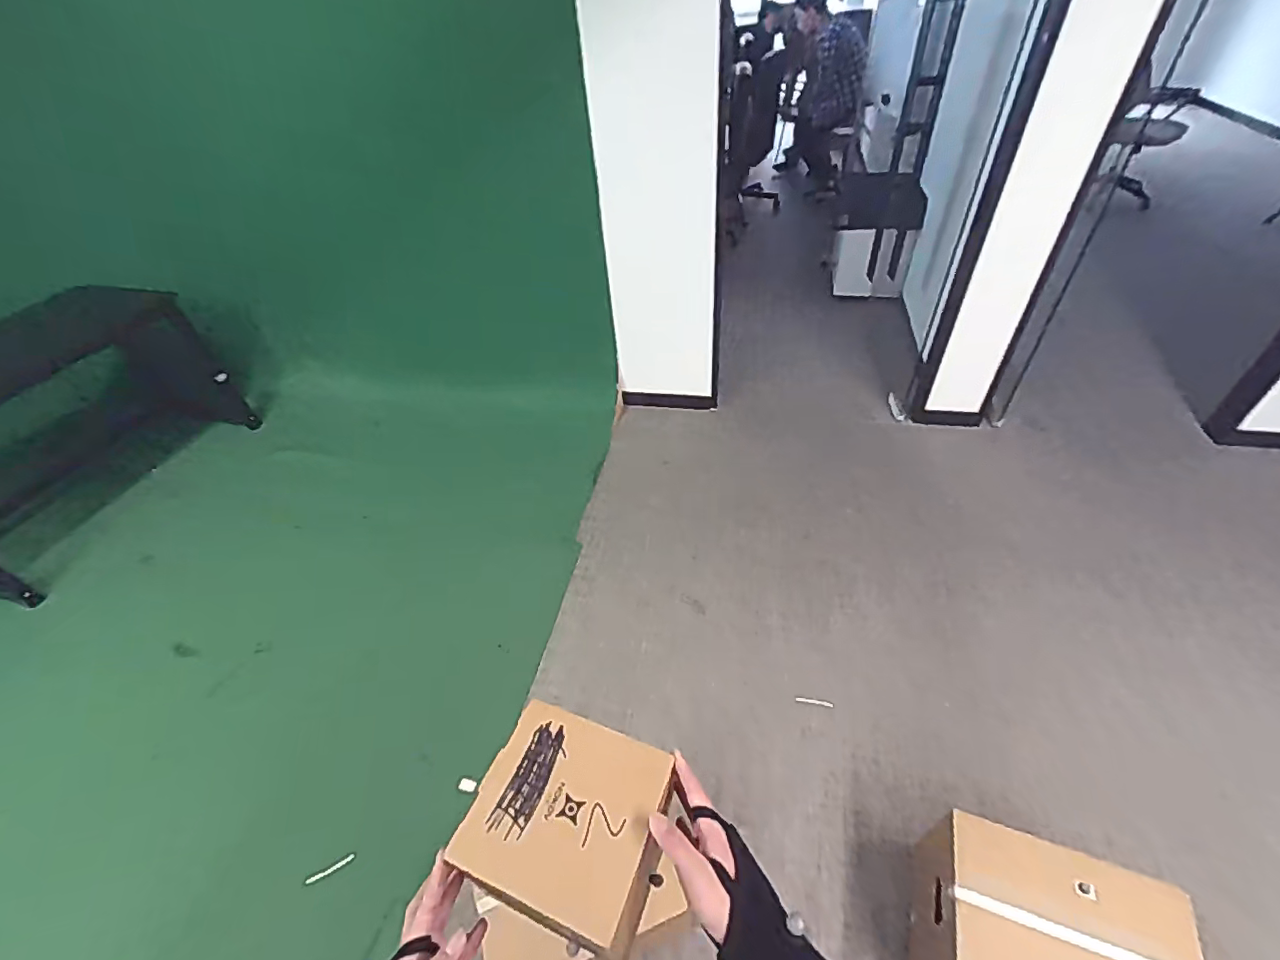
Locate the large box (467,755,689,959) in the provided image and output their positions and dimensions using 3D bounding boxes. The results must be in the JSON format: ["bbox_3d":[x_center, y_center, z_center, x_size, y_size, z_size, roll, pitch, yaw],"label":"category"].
[{"bbox_3d":[-0.132,0.912,1.238,0.408,0.320,0.320,-19,45,-12],"label":"large box"}]
